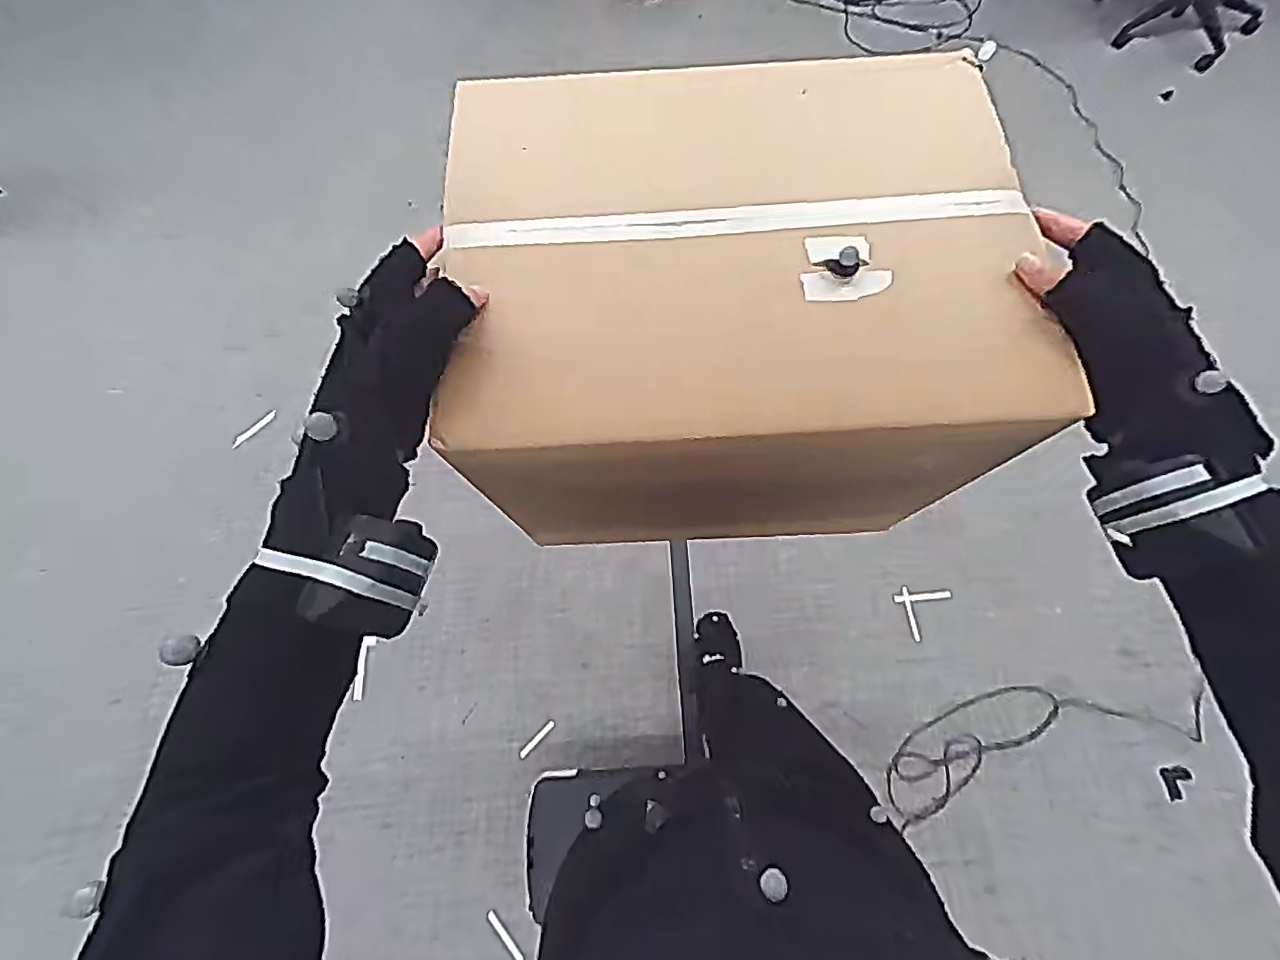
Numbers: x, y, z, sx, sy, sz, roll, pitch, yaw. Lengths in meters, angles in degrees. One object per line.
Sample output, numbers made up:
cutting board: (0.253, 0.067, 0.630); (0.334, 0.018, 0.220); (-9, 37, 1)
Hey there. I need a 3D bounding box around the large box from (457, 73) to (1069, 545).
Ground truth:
large box: (0.071, -0.128, 0.532); (0.408, 0.320, 0.320); (-3, 72, 0)
